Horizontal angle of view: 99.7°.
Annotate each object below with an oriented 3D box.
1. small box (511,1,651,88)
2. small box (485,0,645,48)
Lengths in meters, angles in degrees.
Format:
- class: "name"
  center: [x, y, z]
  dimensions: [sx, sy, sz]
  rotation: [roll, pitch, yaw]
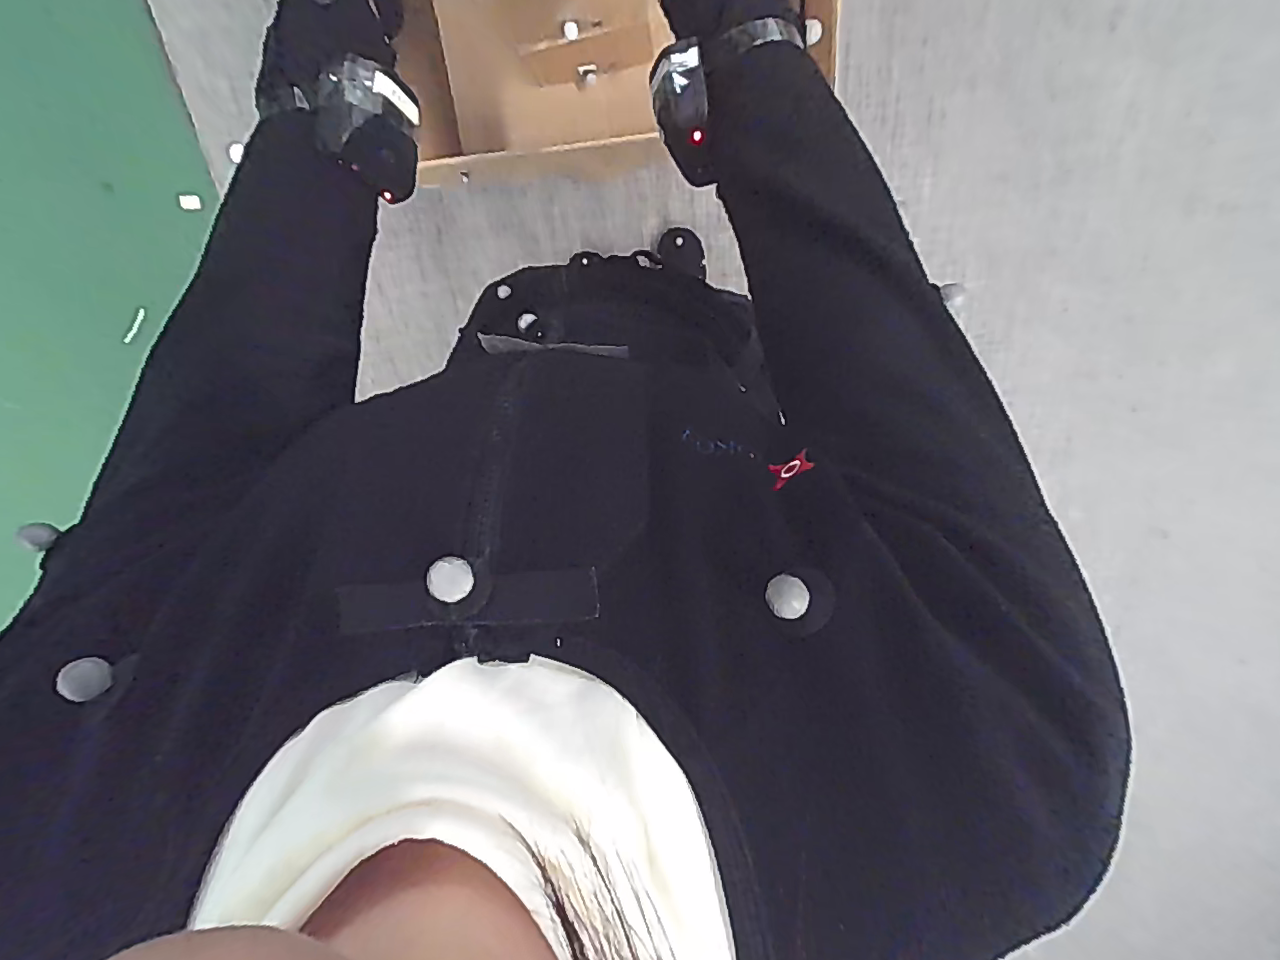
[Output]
- class: "small box"
  center: [-0.081, -0.632, 0.681]
  dimensions: [0.168, 0.176, 0.179]
  rotation: [-8, 114, 8]
- class: "small box"
  center: [-0.090, -0.569, 0.530]
  dimensions: [0.168, 0.176, 0.179]
  rotation: [-6, 114, 7]
